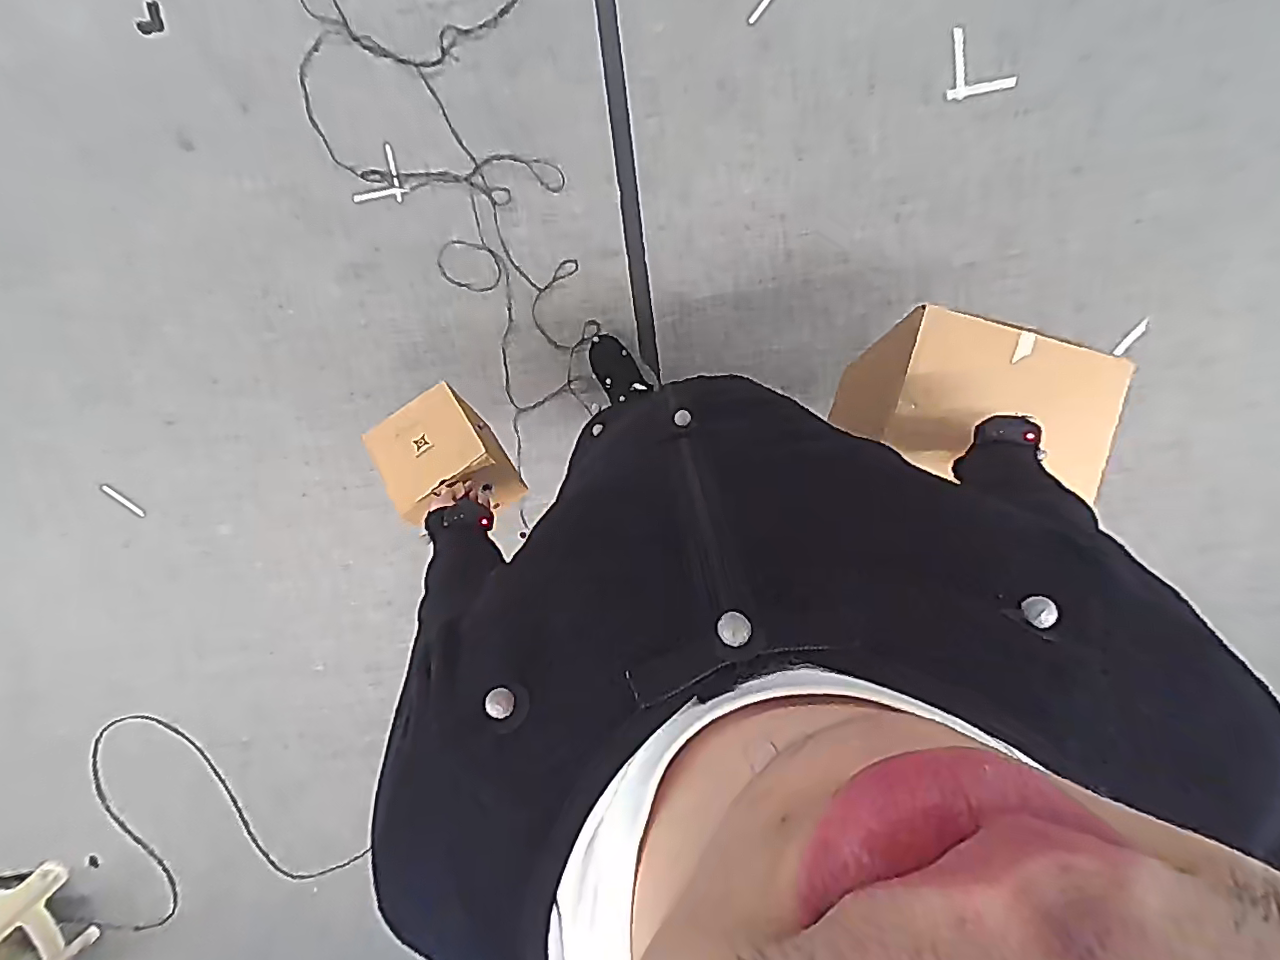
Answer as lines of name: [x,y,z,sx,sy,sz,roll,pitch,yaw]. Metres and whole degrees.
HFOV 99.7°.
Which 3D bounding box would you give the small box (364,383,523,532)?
small box: [-0.331,-0.028,0.940,0.168,0.176,0.179,-35,65,-4]
